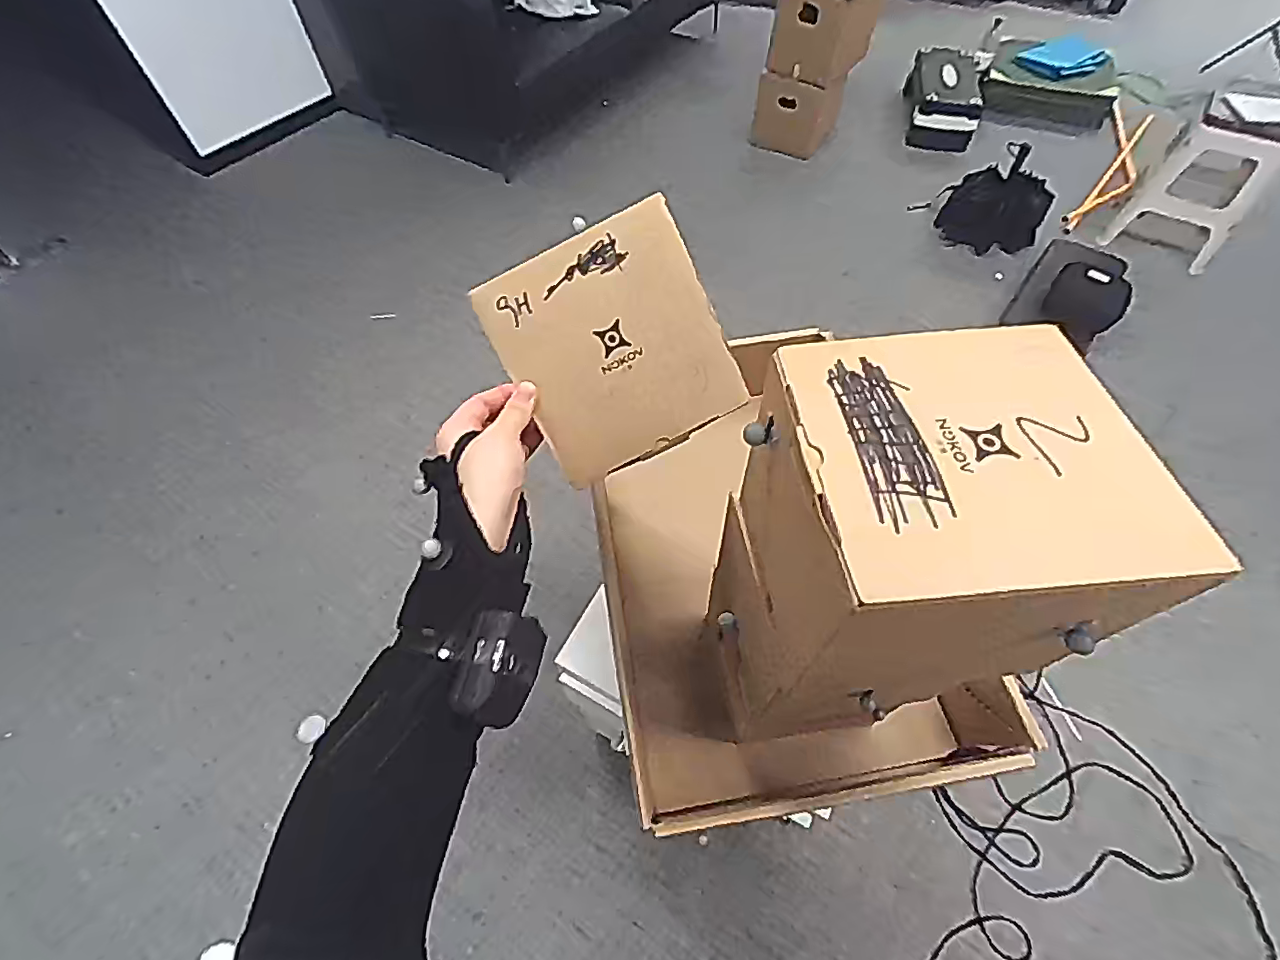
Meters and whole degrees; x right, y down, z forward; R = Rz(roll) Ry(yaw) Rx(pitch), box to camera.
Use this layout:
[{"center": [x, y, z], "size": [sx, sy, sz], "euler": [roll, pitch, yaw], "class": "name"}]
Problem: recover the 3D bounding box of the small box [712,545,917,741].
[{"center": [0.184, 0.198, 0.639], "size": [0.179, 0.176, 0.168], "euler": [-8, 55, -2], "class": "small box"}]
